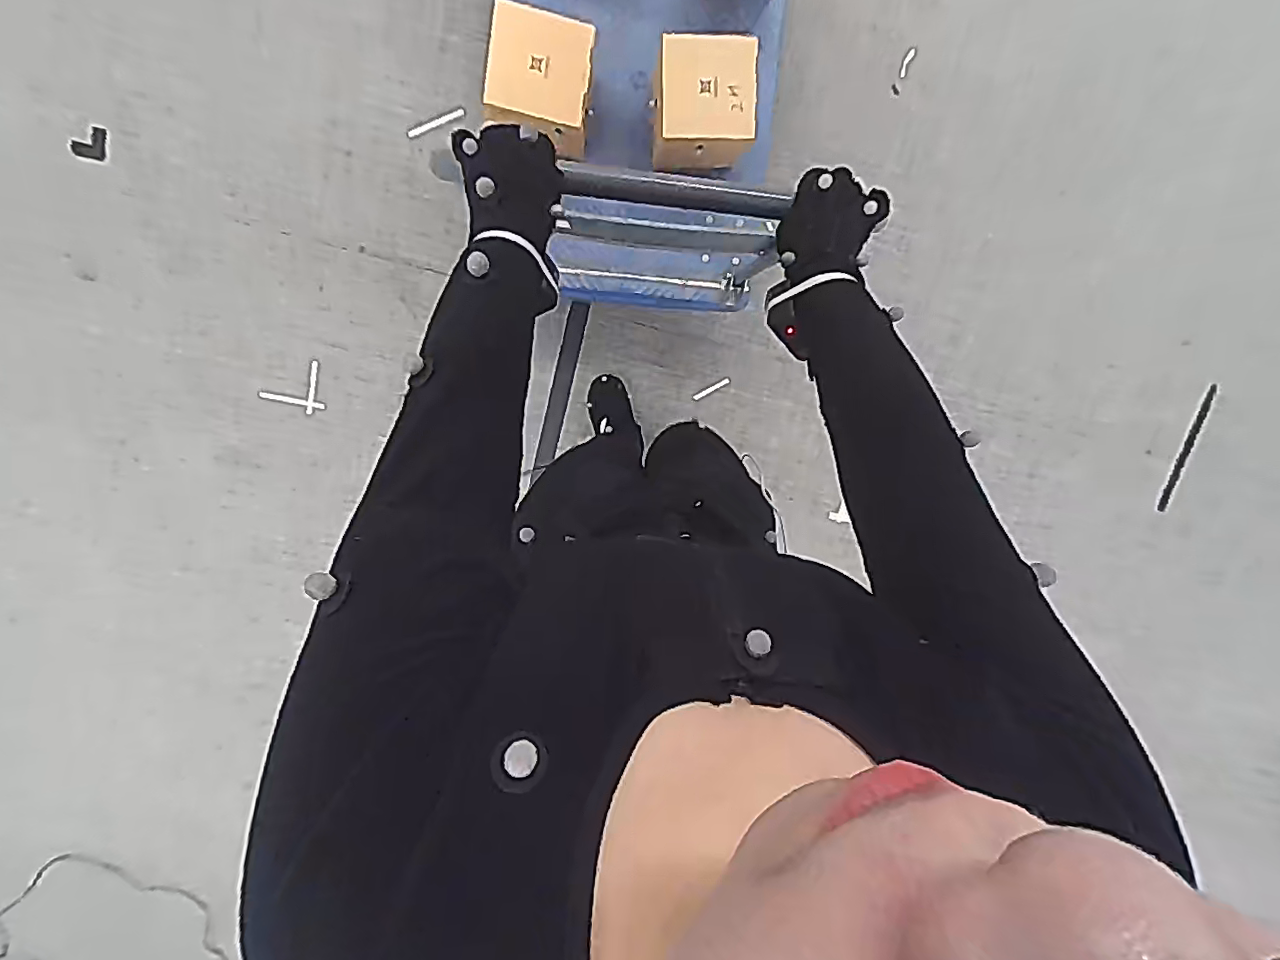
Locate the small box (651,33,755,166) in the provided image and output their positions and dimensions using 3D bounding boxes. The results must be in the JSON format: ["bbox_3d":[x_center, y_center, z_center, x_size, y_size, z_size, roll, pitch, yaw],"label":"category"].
[{"bbox_3d":[0.113,-0.724,1.048,0.179,0.176,0.168,-2,104,-5],"label":"small box"}]

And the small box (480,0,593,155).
[{"bbox_3d":[-0.189,-0.742,1.016,0.179,0.176,0.168,9,102,-9],"label":"small box"}]
